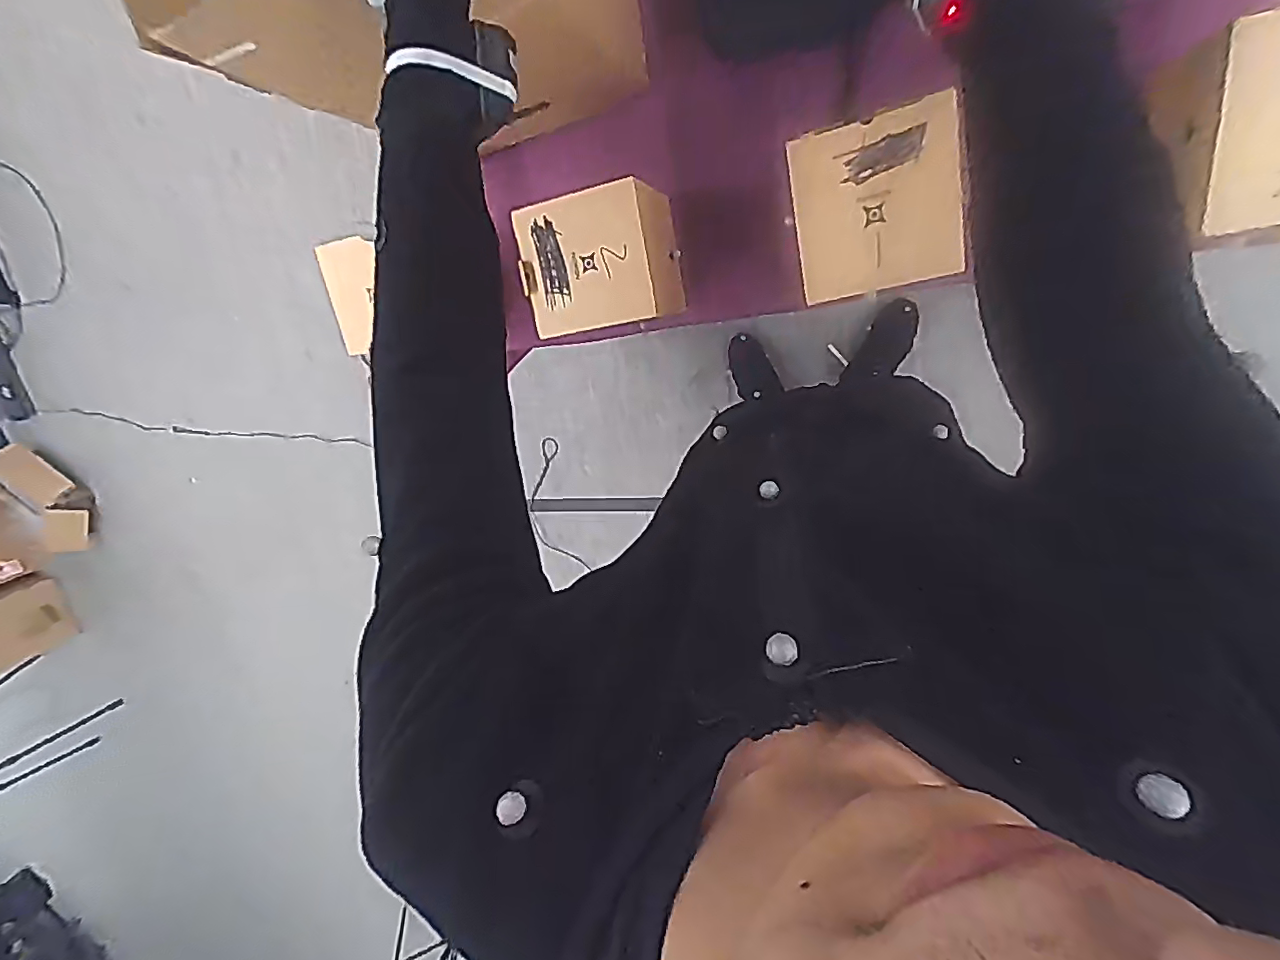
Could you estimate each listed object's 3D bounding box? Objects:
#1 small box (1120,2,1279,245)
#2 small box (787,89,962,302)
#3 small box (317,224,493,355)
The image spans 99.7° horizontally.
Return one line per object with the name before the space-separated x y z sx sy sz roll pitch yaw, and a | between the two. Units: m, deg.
small box | 0.611 -0.339 0.525 0.168 0.176 0.179 -1 109 21
small box | 0.274 -0.321 0.650 0.168 0.176 0.179 -6 108 21
small box | -0.370 -0.304 0.879 0.179 0.176 0.168 -4 108 19
